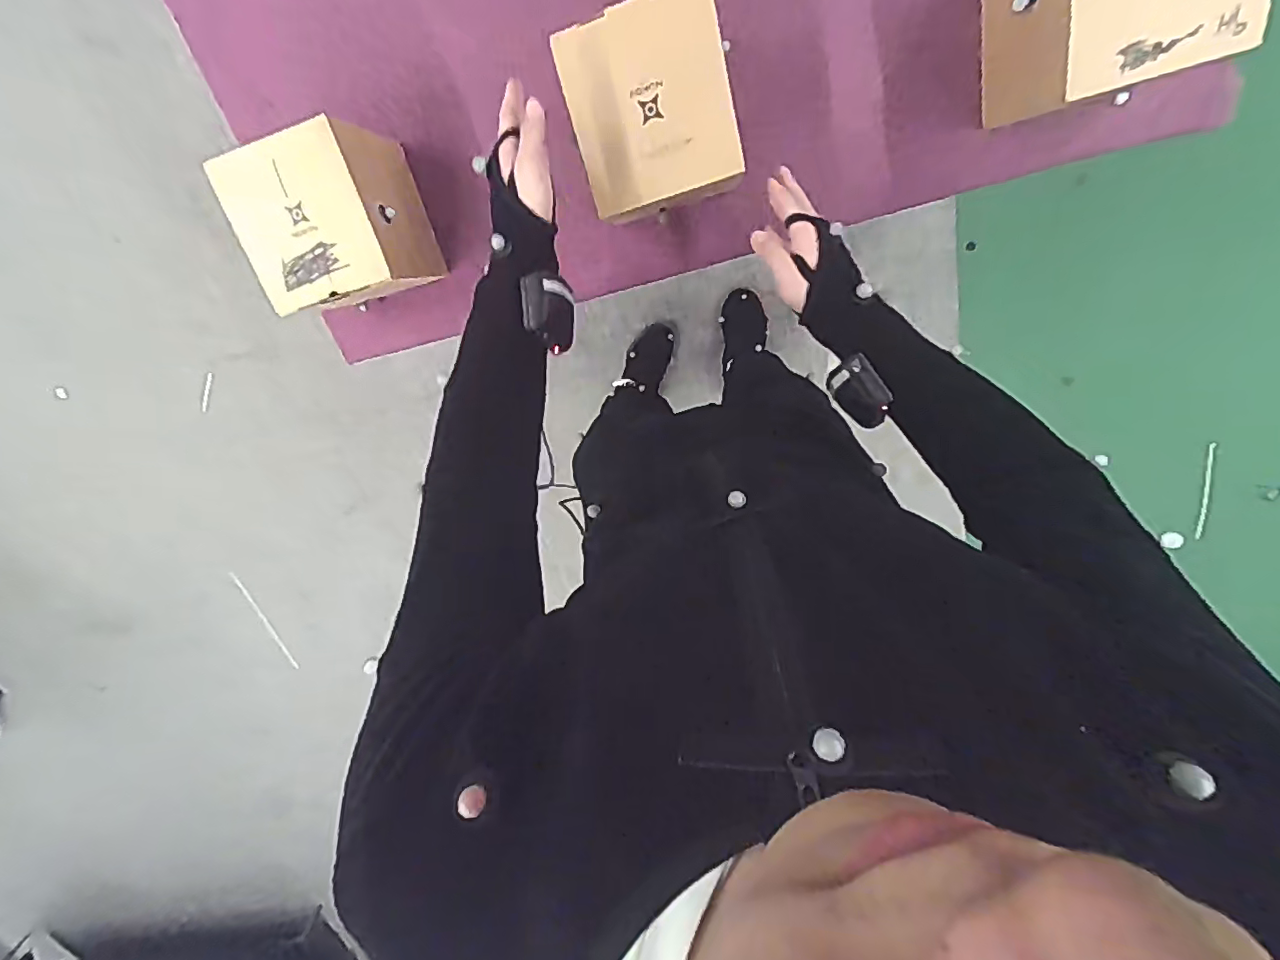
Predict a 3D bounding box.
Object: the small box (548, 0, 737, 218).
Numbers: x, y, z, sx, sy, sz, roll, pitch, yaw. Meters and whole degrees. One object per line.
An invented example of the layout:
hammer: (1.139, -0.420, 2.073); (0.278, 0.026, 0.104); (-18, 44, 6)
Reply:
small box: (0.013, -0.423, 0.633); (0.168, 0.176, 0.179); (-12, 112, 13)

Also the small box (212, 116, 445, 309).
small box: (-0.389, -0.342, 0.713); (0.168, 0.176, 0.179); (-12, 111, 11)

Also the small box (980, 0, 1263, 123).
small box: (0.467, -0.494, 0.545); (0.168, 0.176, 0.179); (-10, 114, 12)
